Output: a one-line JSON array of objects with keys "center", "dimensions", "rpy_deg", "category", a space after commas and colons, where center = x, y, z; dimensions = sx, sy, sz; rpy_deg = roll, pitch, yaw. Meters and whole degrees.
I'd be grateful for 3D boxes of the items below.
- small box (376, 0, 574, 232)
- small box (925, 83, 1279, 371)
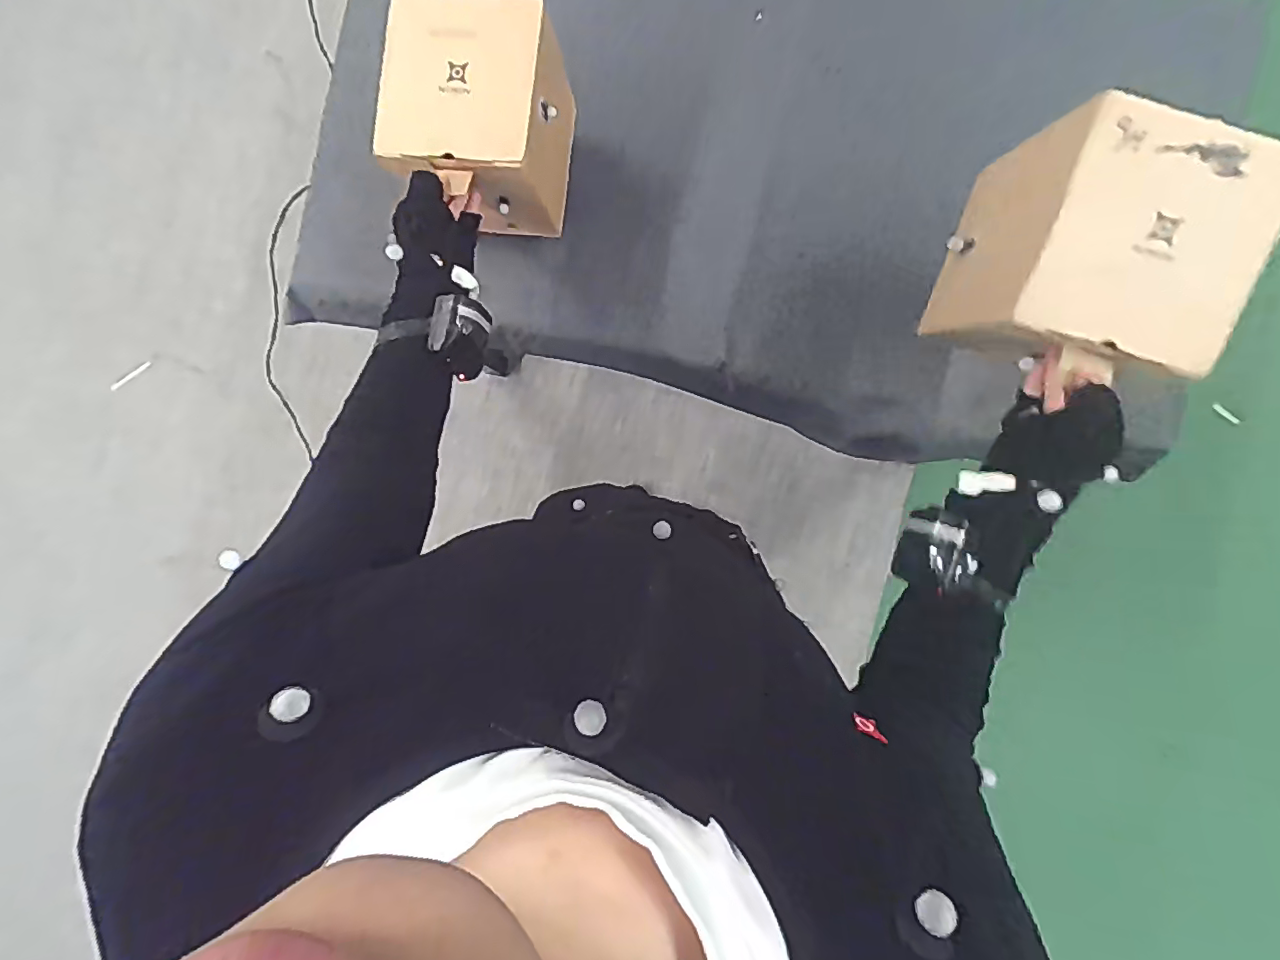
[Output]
[{"center": [-0.179, -0.416, 0.636], "dimensions": [0.168, 0.176, 0.179], "rpy_deg": [7, 89, 4], "category": "small box"}, {"center": [0.399, -0.210, 0.501], "dimensions": [0.168, 0.176, 0.179], "rpy_deg": [17, 102, -1], "category": "small box"}]
